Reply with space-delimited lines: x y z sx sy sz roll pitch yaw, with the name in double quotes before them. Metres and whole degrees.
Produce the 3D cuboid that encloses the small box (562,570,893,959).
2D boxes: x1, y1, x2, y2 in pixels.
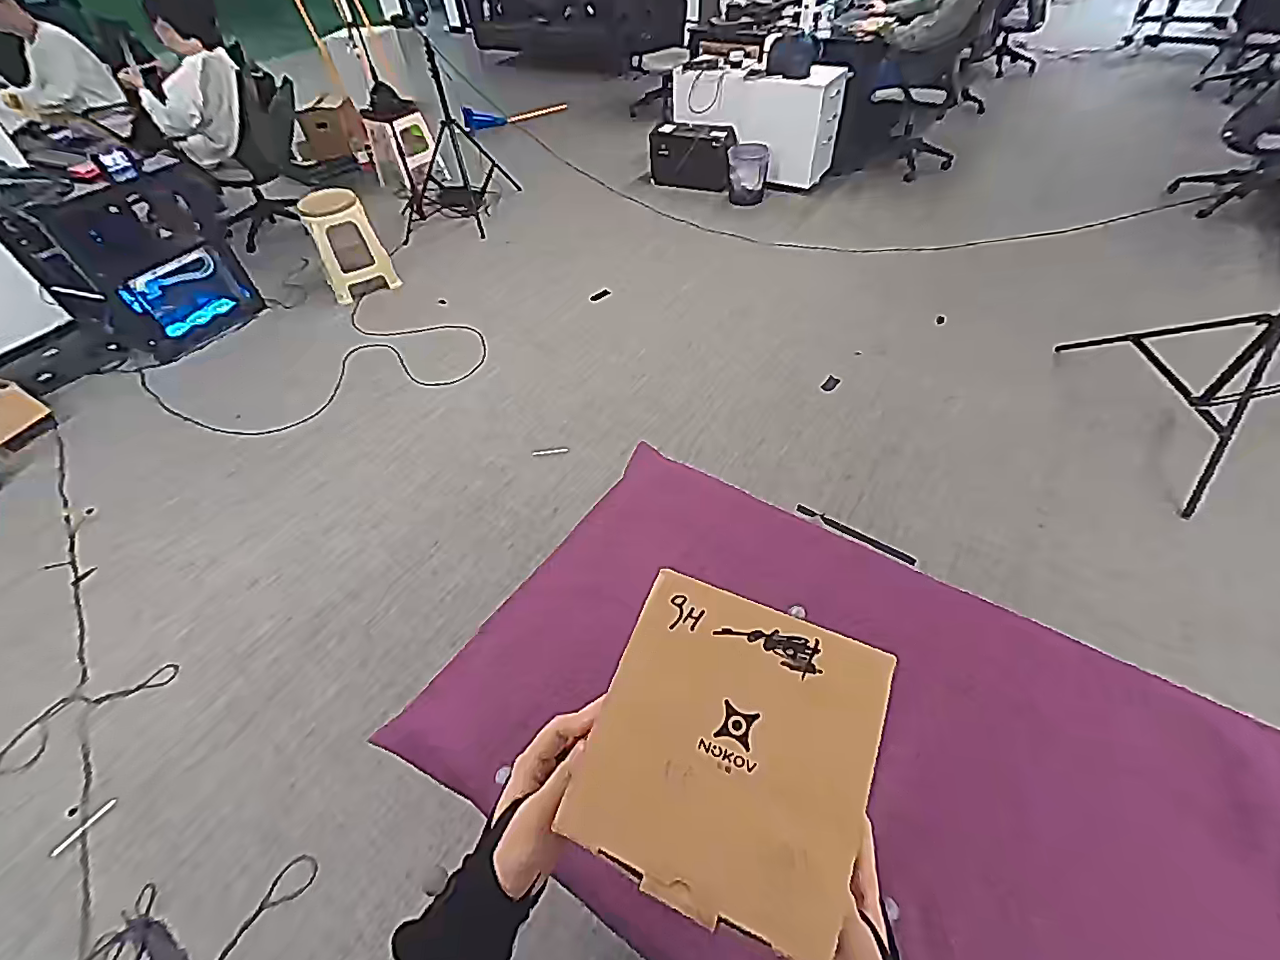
"small box" 0.066 0.199 0.410 0.168 0.176 0.179 19 65 14
